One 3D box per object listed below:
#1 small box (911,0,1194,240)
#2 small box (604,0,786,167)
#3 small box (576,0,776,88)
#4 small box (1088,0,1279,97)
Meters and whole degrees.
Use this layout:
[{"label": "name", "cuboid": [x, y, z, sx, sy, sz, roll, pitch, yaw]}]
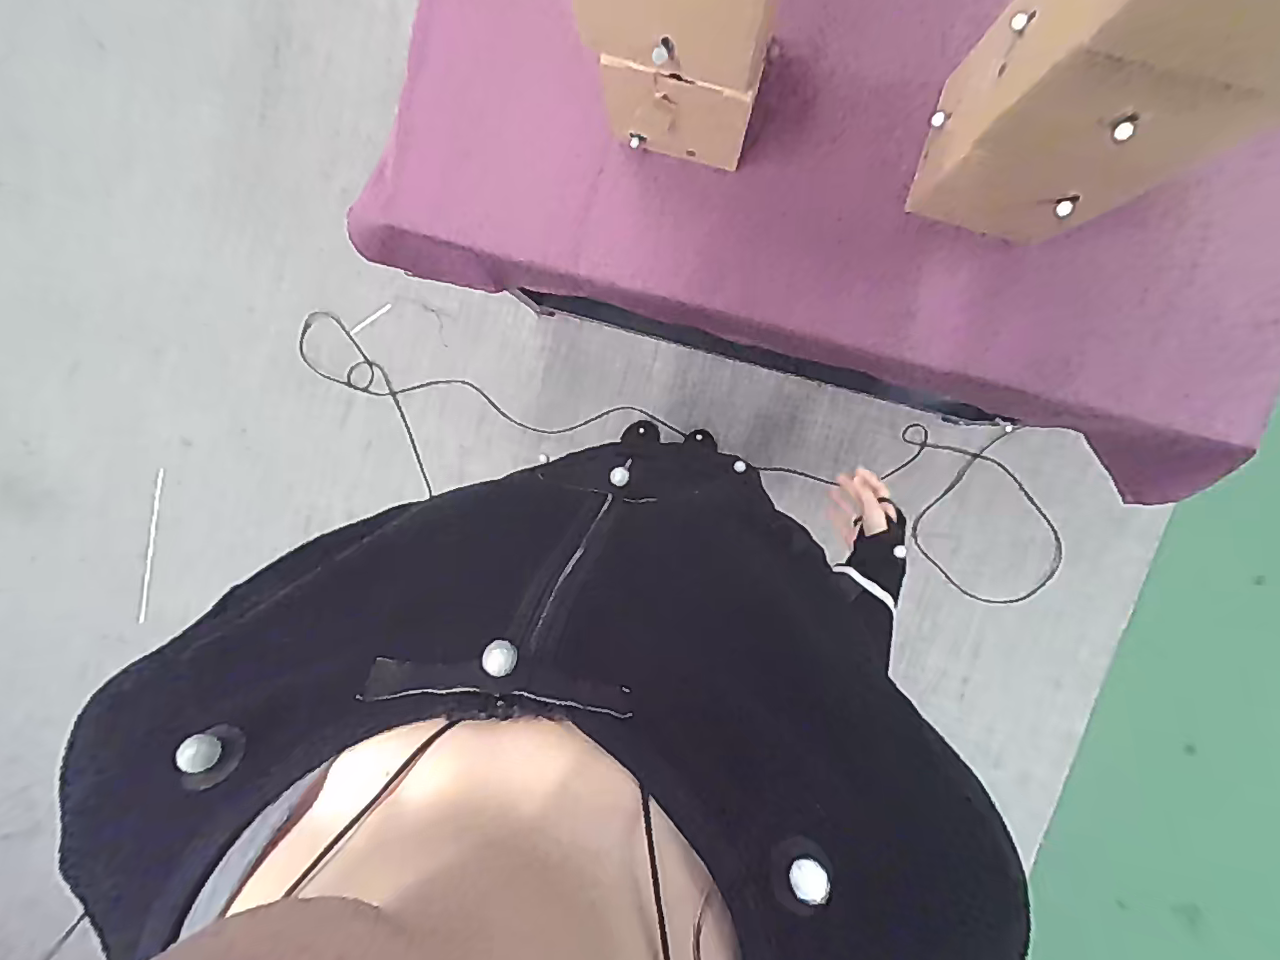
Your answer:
[{"label": "small box", "cuboid": [0.446, -0.391, 0.607, 0.179, 0.176, 0.168, 17, 97, 2]}, {"label": "small box", "cuboid": [0.068, -0.498, 0.623, 0.168, 0.176, 0.179, 15, 97, 1]}, {"label": "small box", "cuboid": [0.046, -0.480, 0.460, 0.179, 0.176, 0.168, 17, 97, 1]}, {"label": "small box", "cuboid": [0.407, -0.345, 0.285, 0.179, 0.176, 0.168, 16, 97, 2]}]
